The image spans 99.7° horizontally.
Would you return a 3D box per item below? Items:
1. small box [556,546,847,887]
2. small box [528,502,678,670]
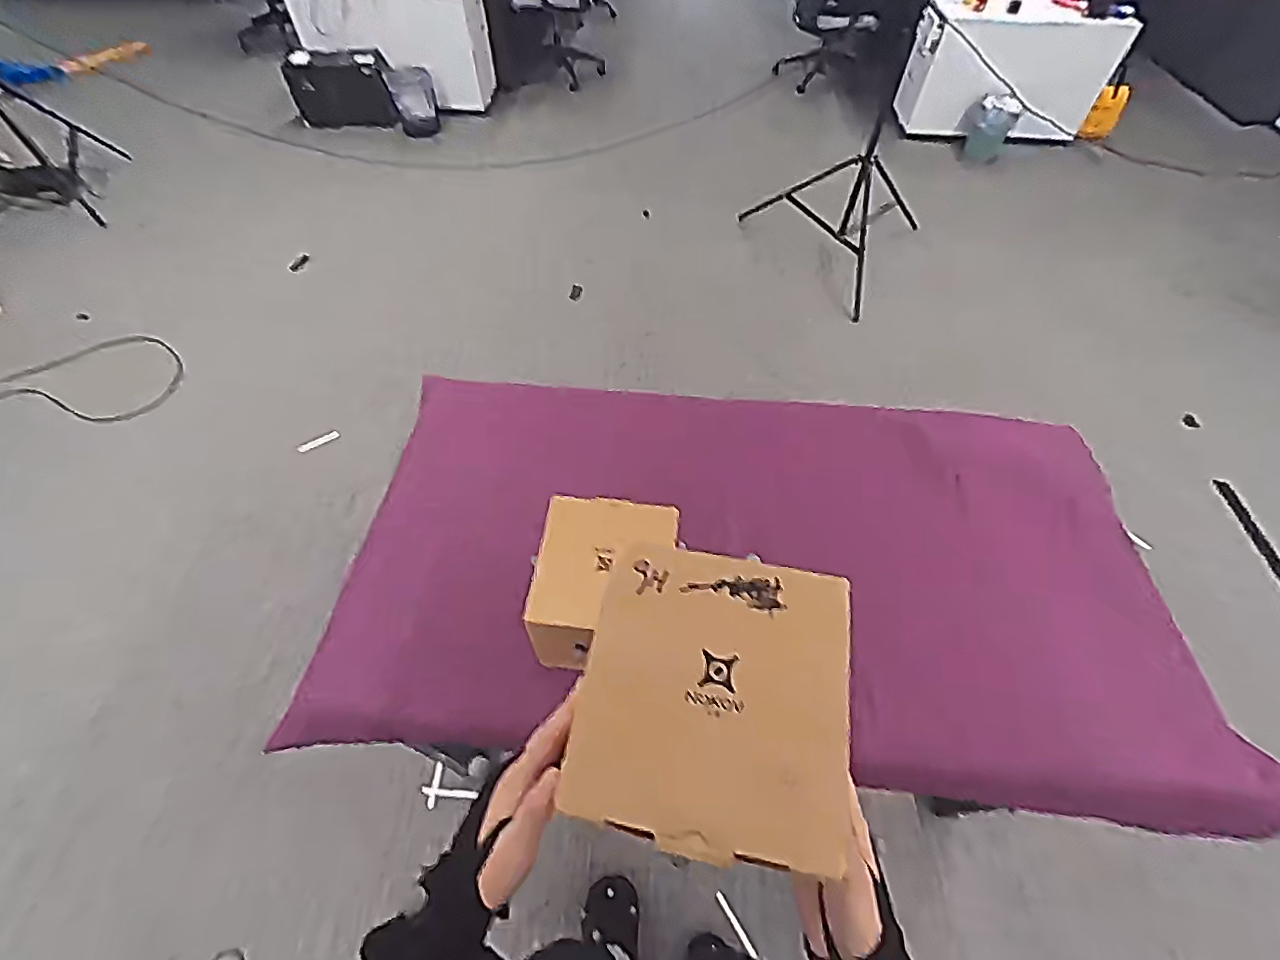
[{"bbox_3d":[0.049,0.175,0.416,0.168,0.176,0.179,10,61,7],"label":"small box"},{"bbox_3d":[-0.040,0.153,0.724,0.168,0.176,0.179,5,53,2],"label":"small box"}]
